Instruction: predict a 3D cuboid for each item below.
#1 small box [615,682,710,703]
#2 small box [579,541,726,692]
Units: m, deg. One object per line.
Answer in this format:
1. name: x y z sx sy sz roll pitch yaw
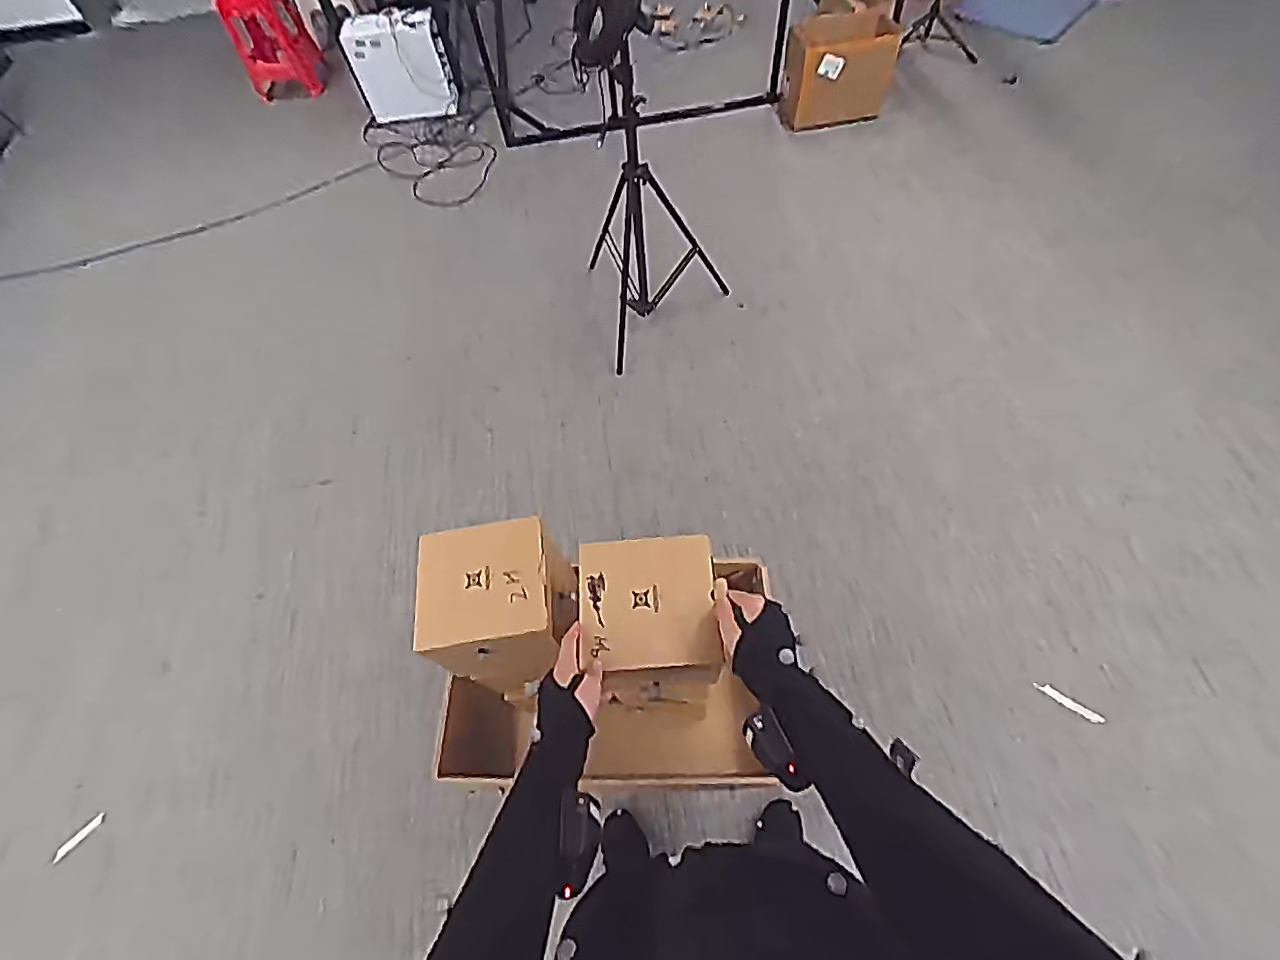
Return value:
1. small box: 0.035 0.271 0.909 0.168 0.176 0.179 0 59 7
2. small box: 0.014 0.192 0.740 0.179 0.176 0.168 -4 62 1
